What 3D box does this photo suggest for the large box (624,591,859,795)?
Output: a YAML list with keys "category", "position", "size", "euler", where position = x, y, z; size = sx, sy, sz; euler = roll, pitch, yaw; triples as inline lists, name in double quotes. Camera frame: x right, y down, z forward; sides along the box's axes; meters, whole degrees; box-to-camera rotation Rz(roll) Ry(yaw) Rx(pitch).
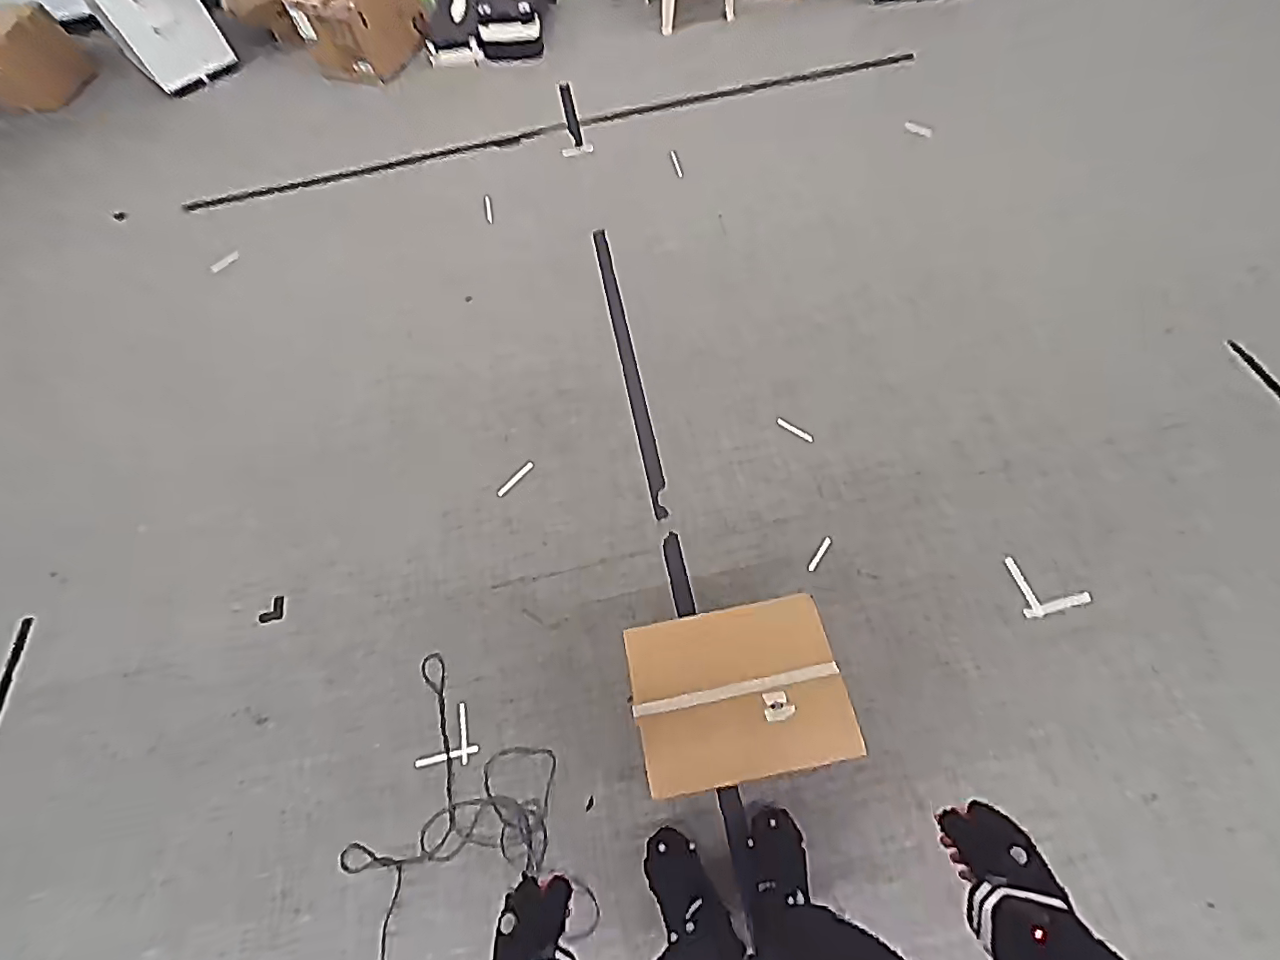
- category: "large box"
  position: [0.198, 0.478, 1.204]
  size: [0.408, 0.320, 0.320]
  euler: [-12, 63, -2]
